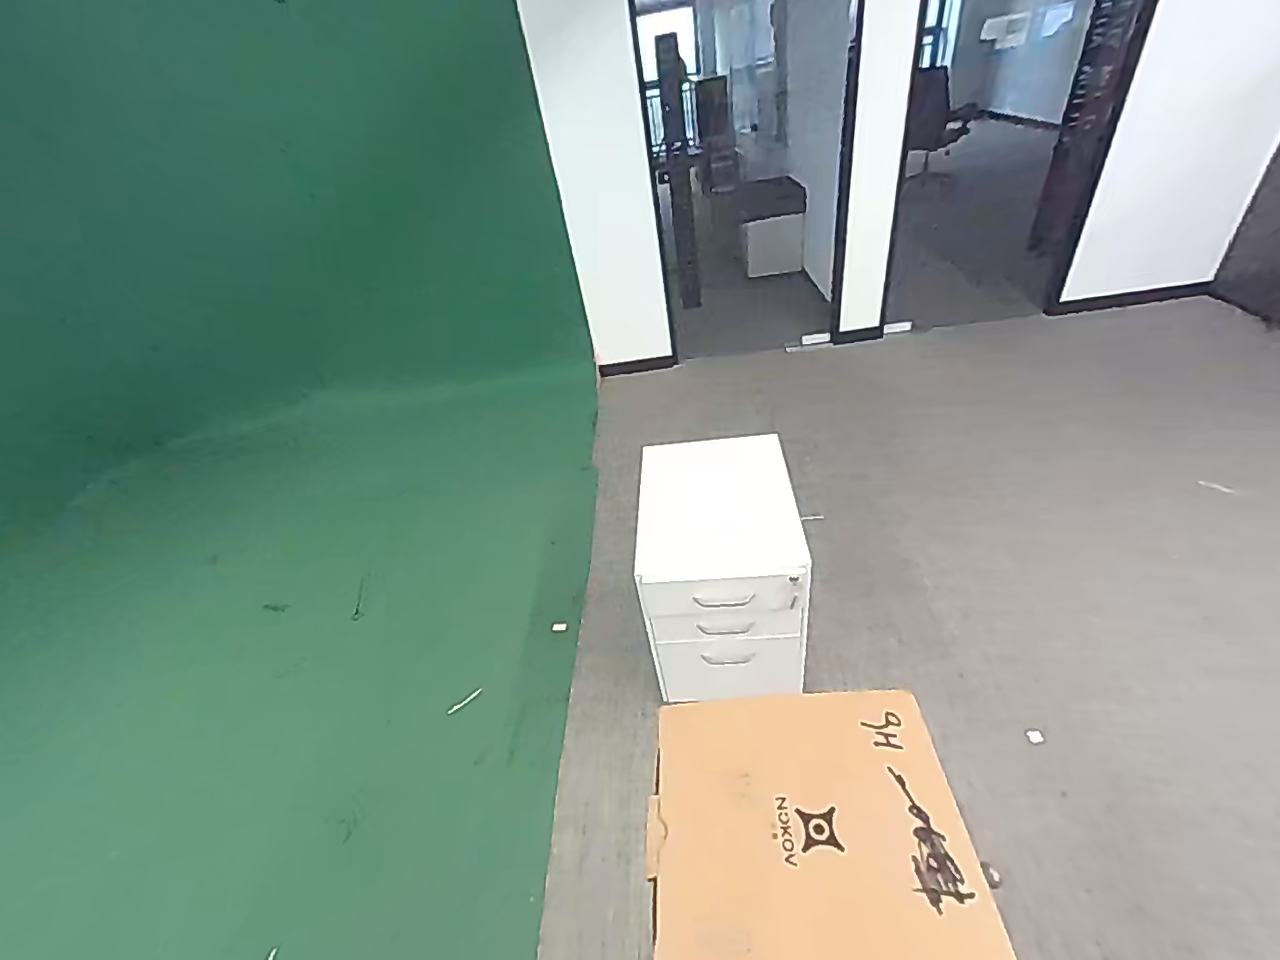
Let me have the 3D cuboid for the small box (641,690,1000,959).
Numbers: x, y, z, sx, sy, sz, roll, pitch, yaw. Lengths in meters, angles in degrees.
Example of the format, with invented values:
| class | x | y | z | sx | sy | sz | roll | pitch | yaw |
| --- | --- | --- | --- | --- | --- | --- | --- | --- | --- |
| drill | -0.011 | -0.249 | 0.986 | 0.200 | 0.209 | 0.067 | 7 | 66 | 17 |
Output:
| class | x | y | z | sx | sy | sz | roll | pitch | yaw |
| --- | --- | --- | --- | --- | --- | --- | --- | --- | --- |
| small box | 0.106 | 0.265 | 0.363 | 0.179 | 0.176 | 0.168 | -7 | 36 | 9 |
